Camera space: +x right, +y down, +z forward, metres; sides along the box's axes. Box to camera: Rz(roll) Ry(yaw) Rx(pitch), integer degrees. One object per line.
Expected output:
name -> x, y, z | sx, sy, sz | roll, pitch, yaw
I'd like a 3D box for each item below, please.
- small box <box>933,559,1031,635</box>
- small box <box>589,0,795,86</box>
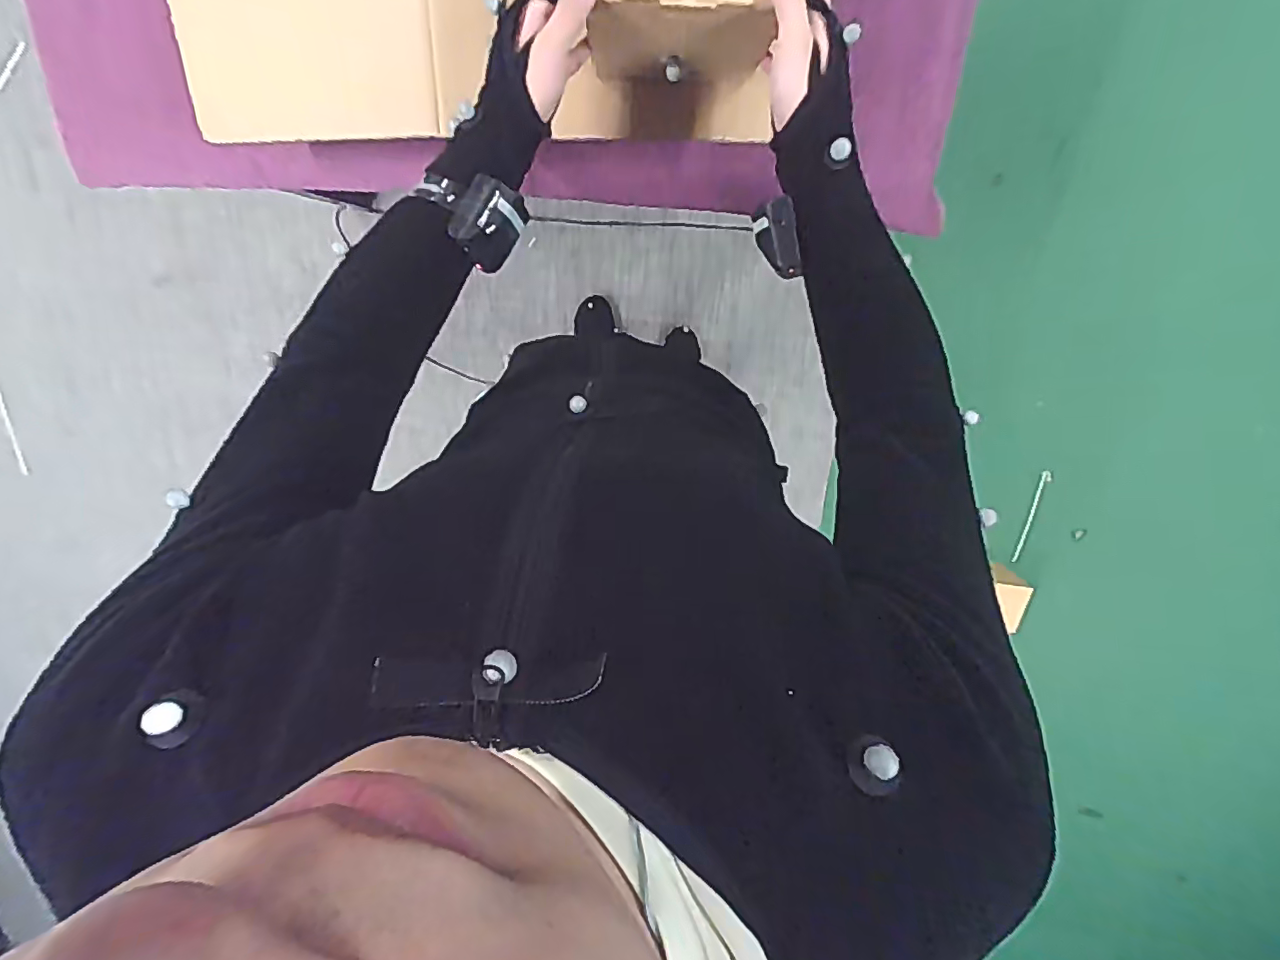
small box -> 1.069, 0.363, 1.706 | 0.179, 0.176, 0.168 | 7, 110, -1
small box -> 0.042, -0.473, 0.464 | 0.168, 0.176, 0.179 | 2, 111, -1
